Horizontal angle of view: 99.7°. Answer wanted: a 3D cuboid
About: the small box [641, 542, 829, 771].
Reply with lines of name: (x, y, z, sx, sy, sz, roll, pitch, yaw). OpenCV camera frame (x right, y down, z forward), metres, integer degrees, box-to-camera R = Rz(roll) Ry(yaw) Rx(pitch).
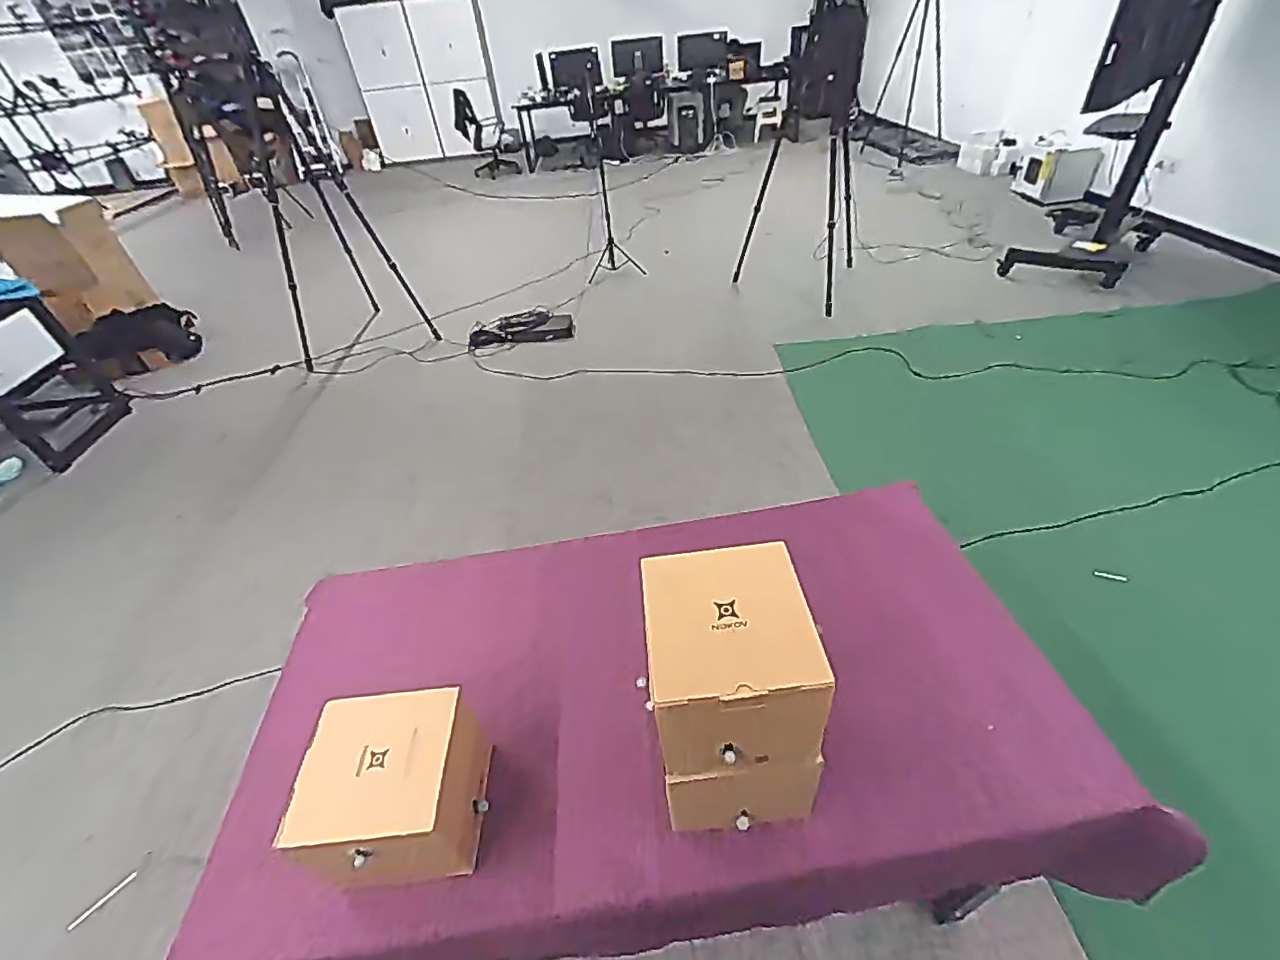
small box: (0.093, 0.196, 0.605, 0.168, 0.176, 0.179, -7, 42, 0)

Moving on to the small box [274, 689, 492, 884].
small box: (-0.305, 0.391, 0.688, 0.179, 0.176, 0.168, -6, 42, 0)

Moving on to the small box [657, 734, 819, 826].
small box: (0.111, 0.325, 0.704, 0.179, 0.176, 0.168, -7, 41, -1)
